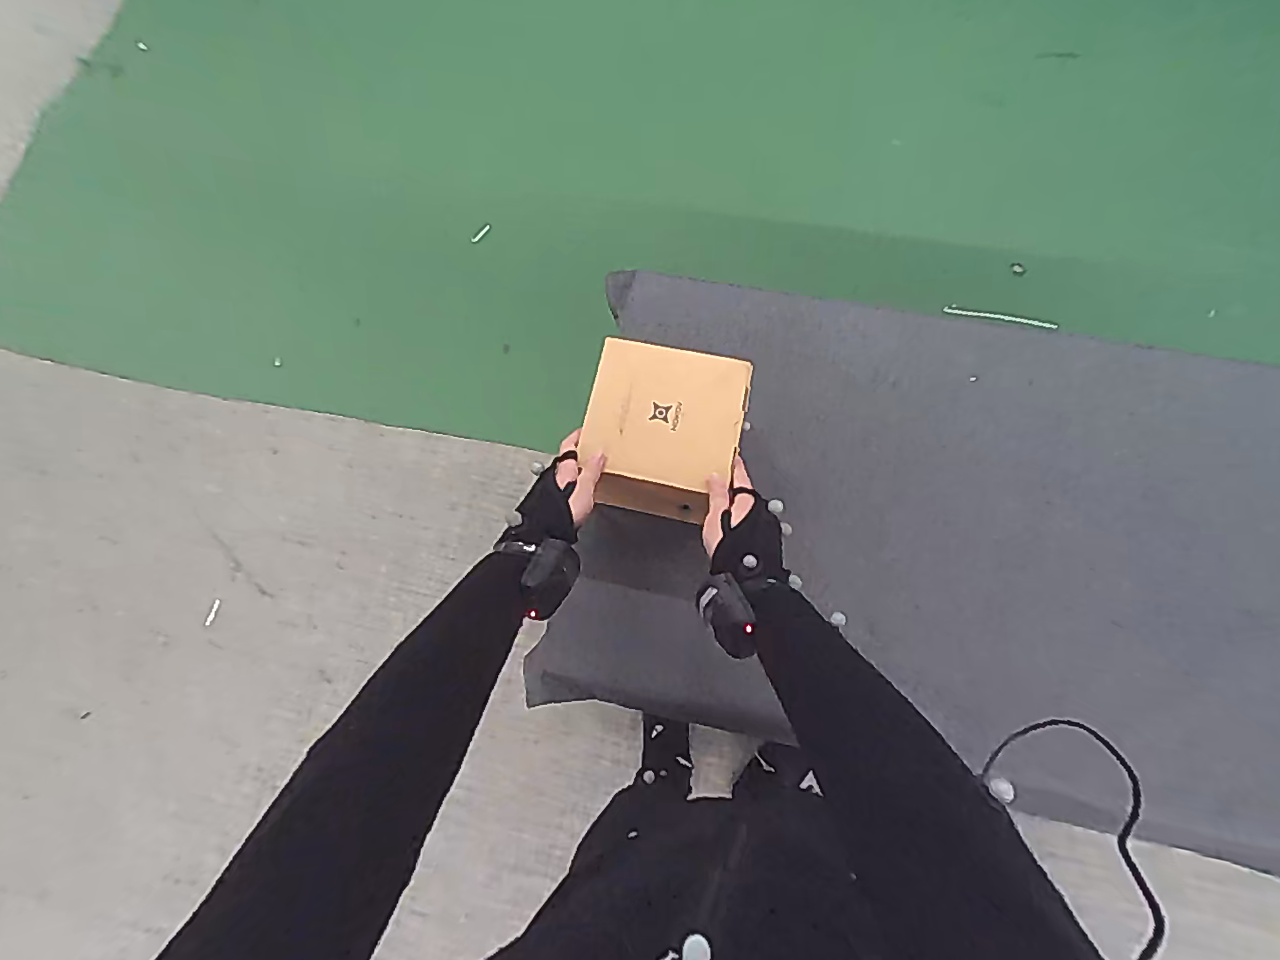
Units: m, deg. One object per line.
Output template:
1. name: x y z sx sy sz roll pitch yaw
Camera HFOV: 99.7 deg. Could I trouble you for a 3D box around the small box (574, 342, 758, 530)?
1. small box: 0.034 -0.044 0.675 0.179 0.176 0.168 13 74 6
